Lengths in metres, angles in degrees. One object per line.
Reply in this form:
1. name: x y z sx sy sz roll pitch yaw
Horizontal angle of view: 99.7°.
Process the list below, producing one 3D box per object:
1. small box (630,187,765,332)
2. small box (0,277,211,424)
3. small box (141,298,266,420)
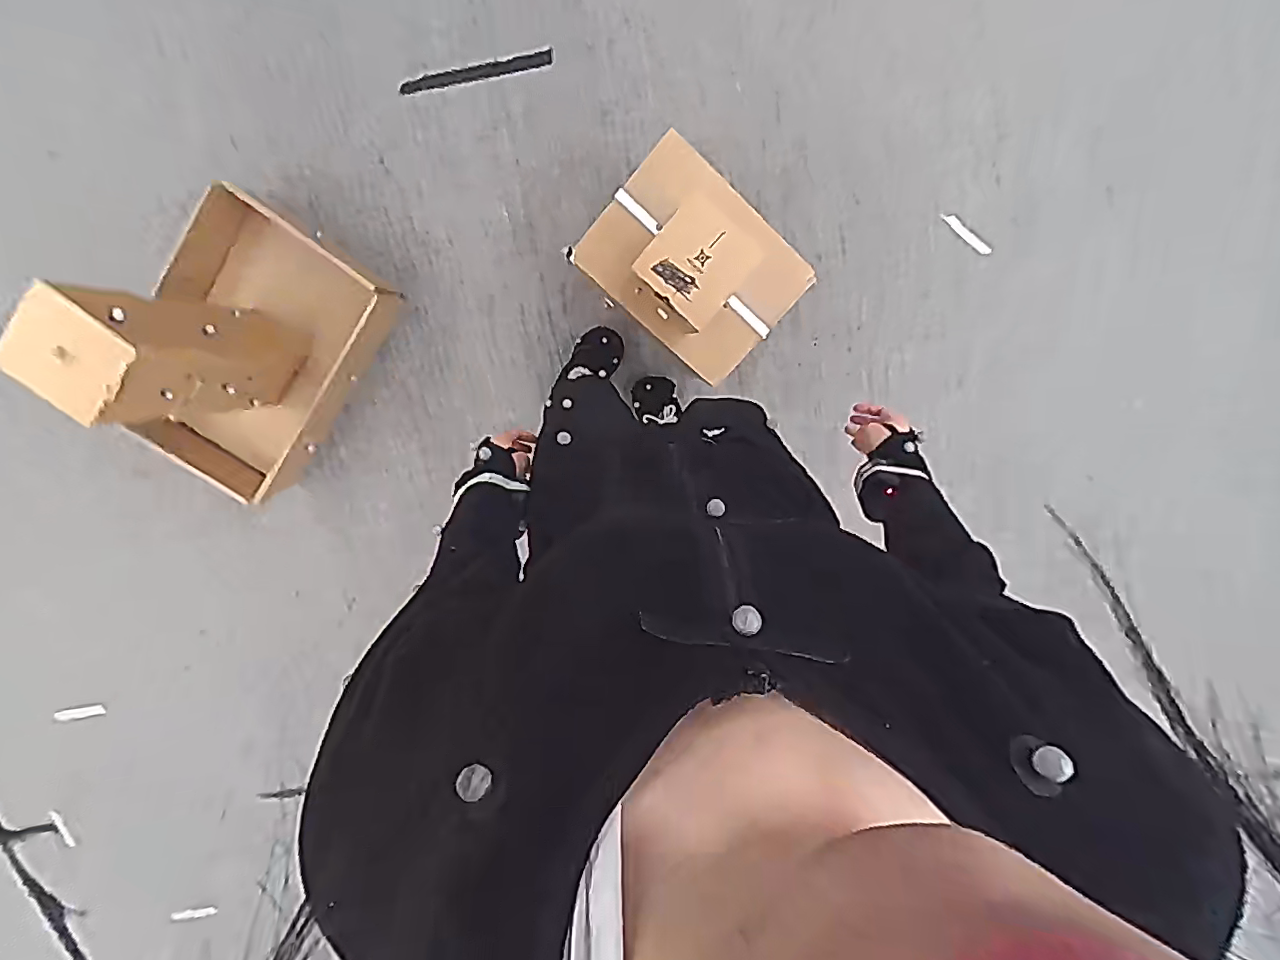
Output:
1. small box: 0.098 -0.393 1.003 0.168 0.176 0.179 40 99 -12
2. small box: -0.920 -0.220 0.944 0.179 0.176 0.168 39 99 -10
3. small box: -0.924 -0.248 1.105 0.179 0.176 0.168 40 99 -11
